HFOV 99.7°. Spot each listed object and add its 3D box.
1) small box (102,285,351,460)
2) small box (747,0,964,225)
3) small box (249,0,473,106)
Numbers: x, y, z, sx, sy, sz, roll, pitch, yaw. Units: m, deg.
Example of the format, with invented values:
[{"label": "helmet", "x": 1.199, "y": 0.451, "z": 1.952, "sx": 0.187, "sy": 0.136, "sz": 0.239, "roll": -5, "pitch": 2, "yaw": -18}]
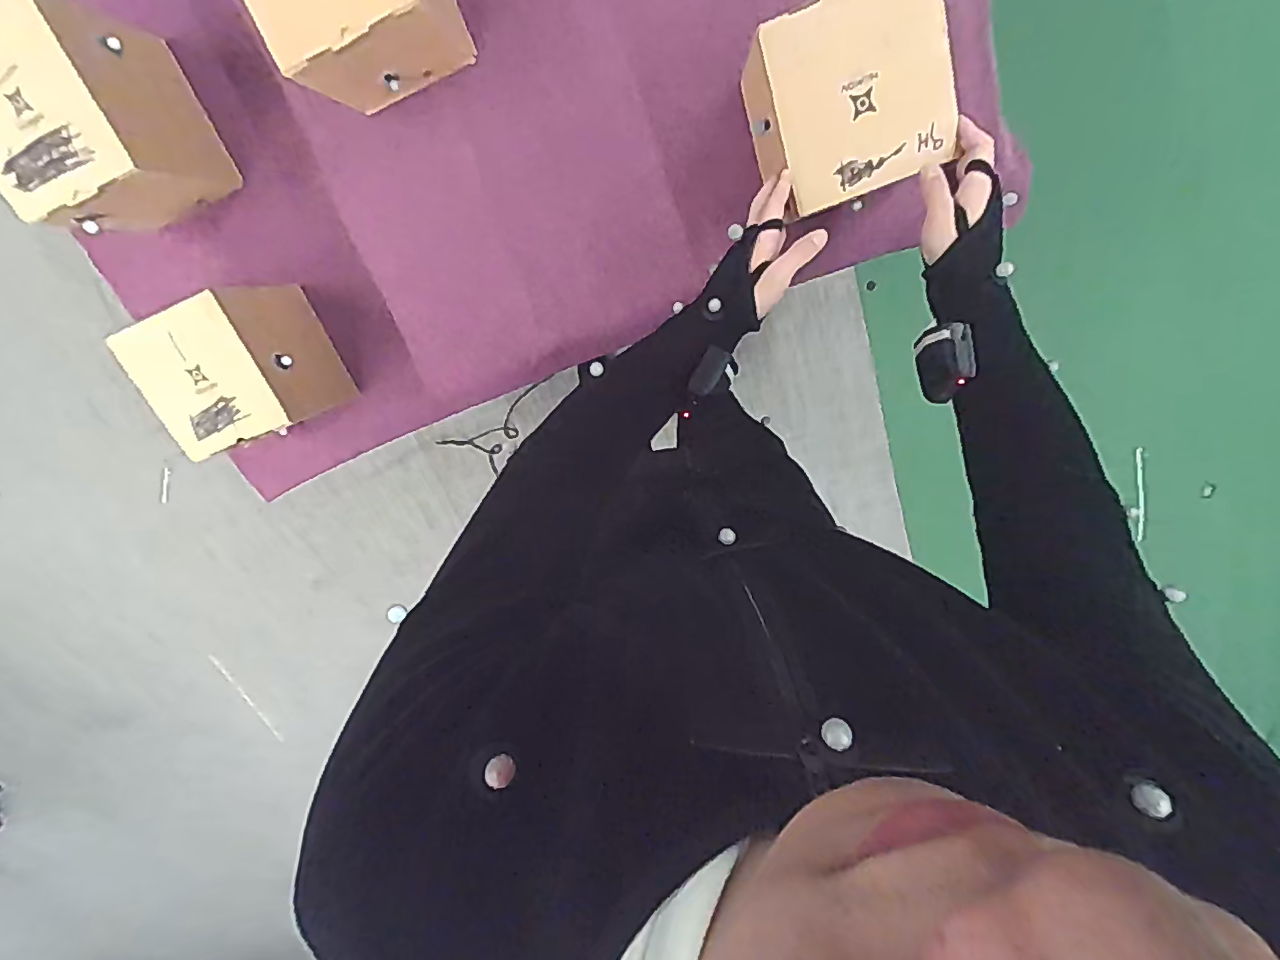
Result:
[{"label": "small box", "x": -0.542, "y": -0.154, "z": 0.741, "sx": 0.168, "sy": 0.176, "sz": 0.179, "roll": -18, "pitch": 109, "yaw": 10}, {"label": "small box", "x": 0.224, "y": -0.403, "z": 0.598, "sx": 0.168, "sy": 0.176, "sz": 0.179, "roll": -16, "pitch": 110, "yaw": 11}, {"label": "small box", "x": -0.306, "y": -0.541, "z": 0.573, "sx": 0.168, "sy": 0.176, "sz": 0.179, "roll": -18, "pitch": 111, "yaw": 10}]
